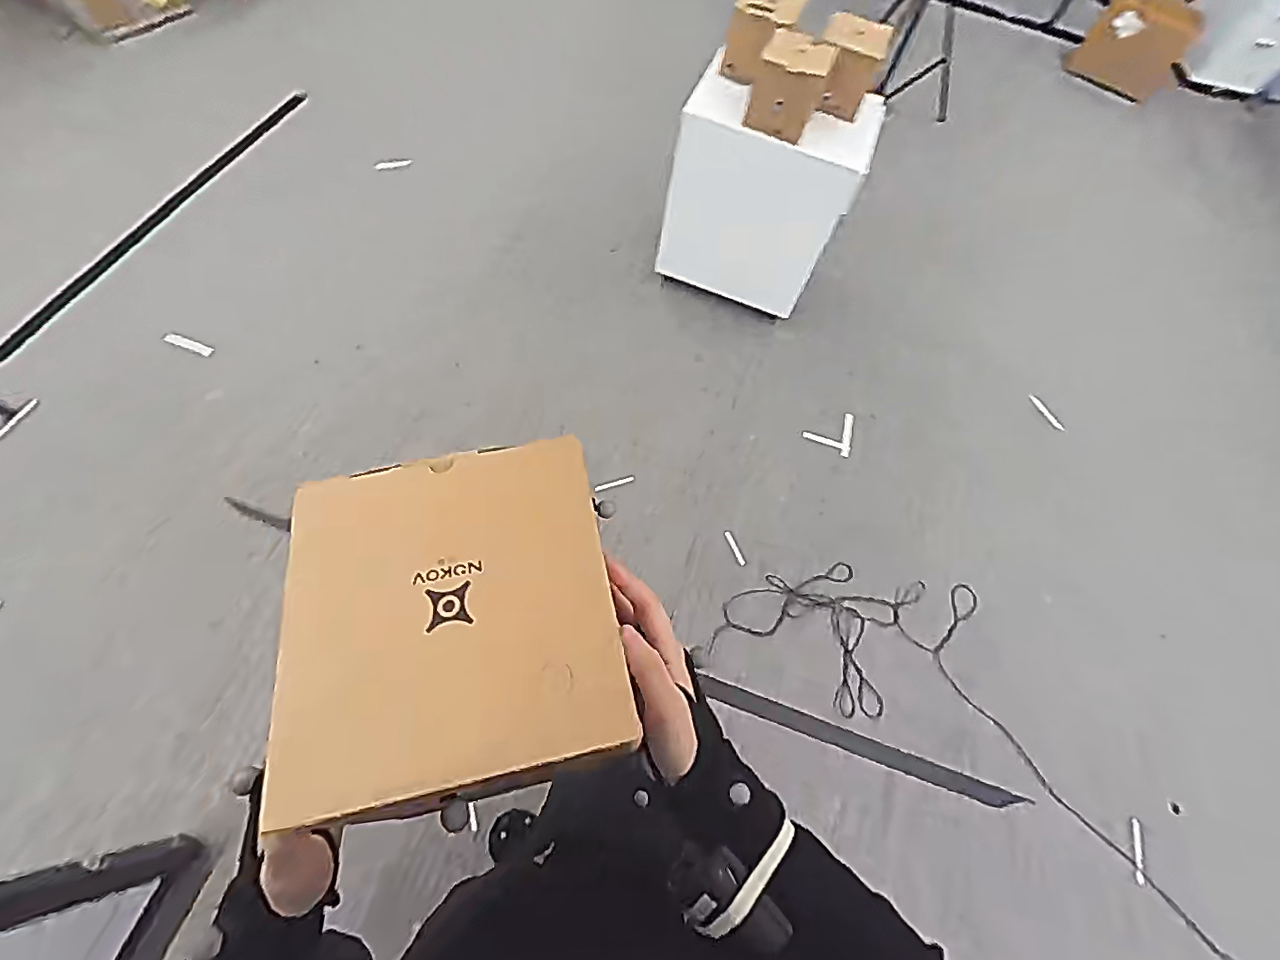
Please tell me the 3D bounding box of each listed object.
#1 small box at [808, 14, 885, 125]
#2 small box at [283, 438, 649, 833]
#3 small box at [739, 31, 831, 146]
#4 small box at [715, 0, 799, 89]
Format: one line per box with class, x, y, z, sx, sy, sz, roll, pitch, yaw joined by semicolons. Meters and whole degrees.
small box;0.553;-1.140;1.506;0.168;0.176;0.179;20;65;4
small box;-0.092;0.102;0.347;0.168;0.176;0.179;-11;59;-8
small box;0.373;-1.024;1.423;0.168;0.176;0.179;23;63;4
small box;0.322;-1.233;1.519;0.168;0.176;0.179;22;63;3
